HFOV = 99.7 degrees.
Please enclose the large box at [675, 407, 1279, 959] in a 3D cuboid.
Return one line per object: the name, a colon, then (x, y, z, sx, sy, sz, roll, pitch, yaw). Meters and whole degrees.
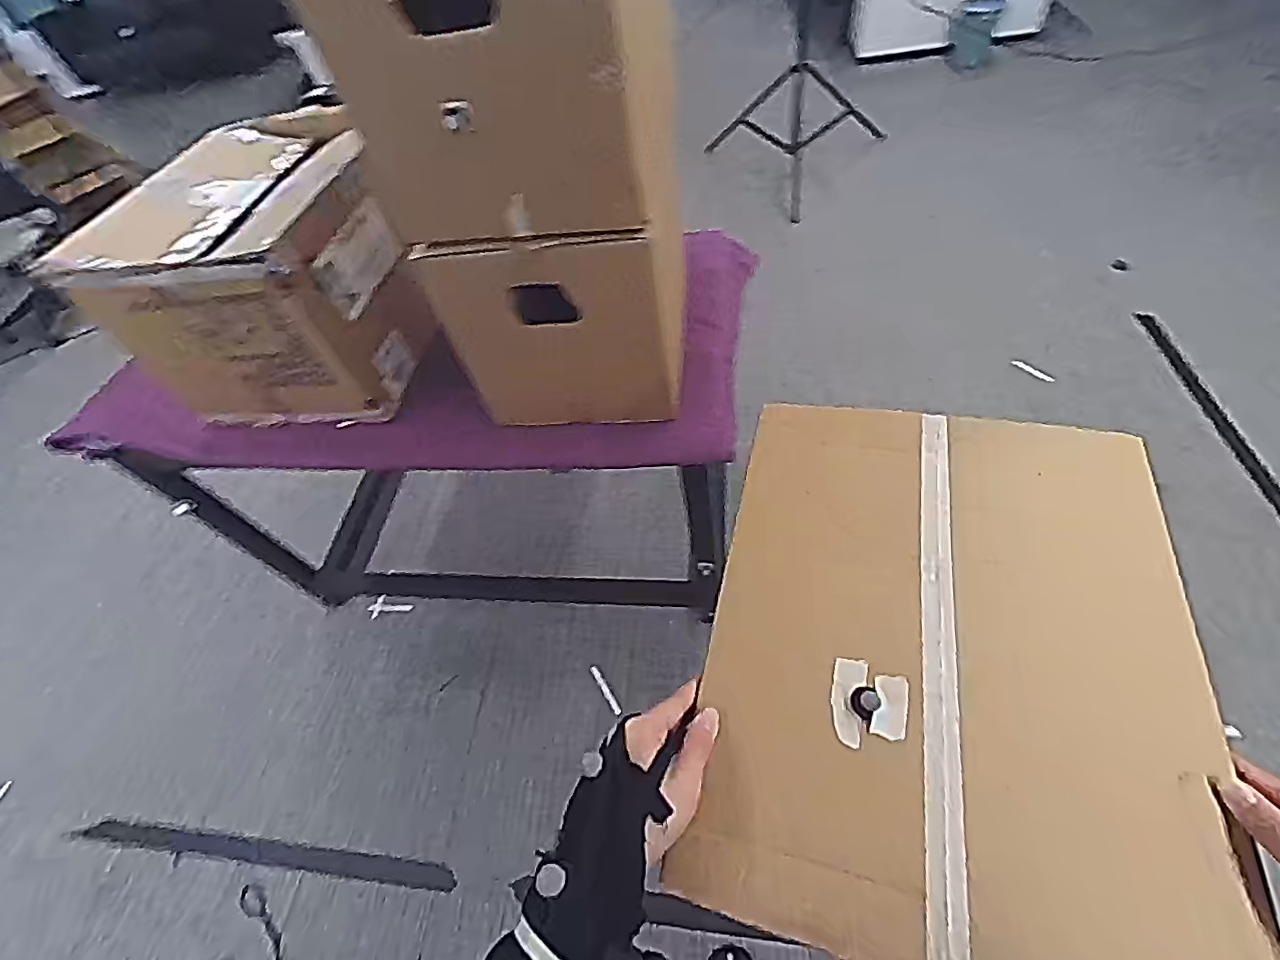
large box: (0.234, 0.189, 0.505, 0.320, 0.320, 0.408, 6, 56, 17)
